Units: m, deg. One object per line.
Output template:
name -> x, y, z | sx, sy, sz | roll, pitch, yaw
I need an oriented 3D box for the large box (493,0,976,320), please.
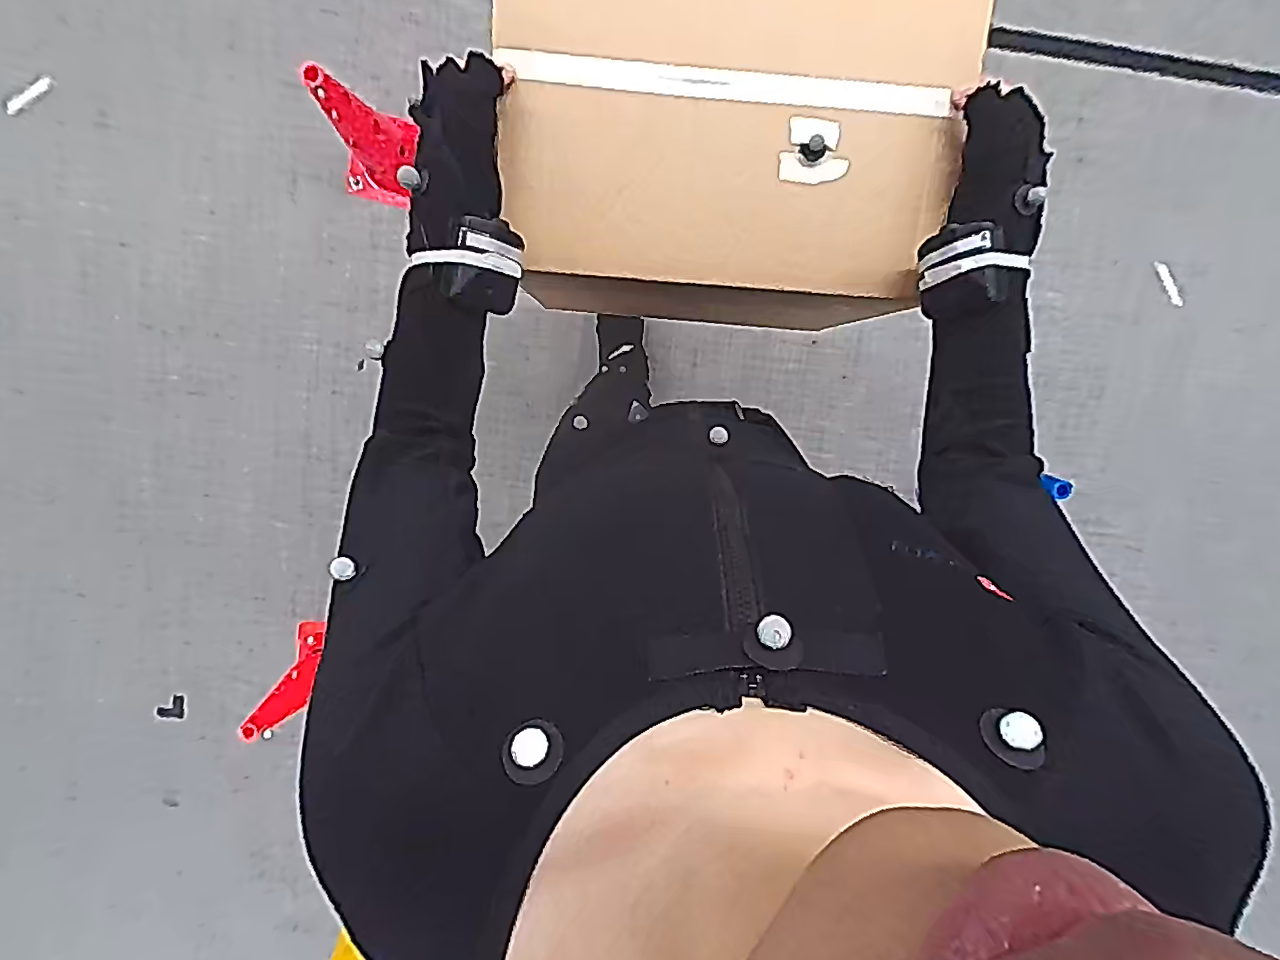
large box -> 0.070, -0.363, 0.600 | 0.408, 0.320, 0.320 | 3, 101, -3

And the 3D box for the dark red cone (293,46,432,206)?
dark red cone -> -0.599, -0.757, 1.133 | 0.201, 0.394, 0.202 | 12, 97, -4

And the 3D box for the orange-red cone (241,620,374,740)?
orange-red cone -> -0.826, 0.510, 1.314 | 0.198, 0.360, 0.199 | 4, 99, -1

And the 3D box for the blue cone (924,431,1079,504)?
blue cone -> 0.885, -0.012, 1.316 | 0.192, 0.380, 0.193 | 10, 97, -4
